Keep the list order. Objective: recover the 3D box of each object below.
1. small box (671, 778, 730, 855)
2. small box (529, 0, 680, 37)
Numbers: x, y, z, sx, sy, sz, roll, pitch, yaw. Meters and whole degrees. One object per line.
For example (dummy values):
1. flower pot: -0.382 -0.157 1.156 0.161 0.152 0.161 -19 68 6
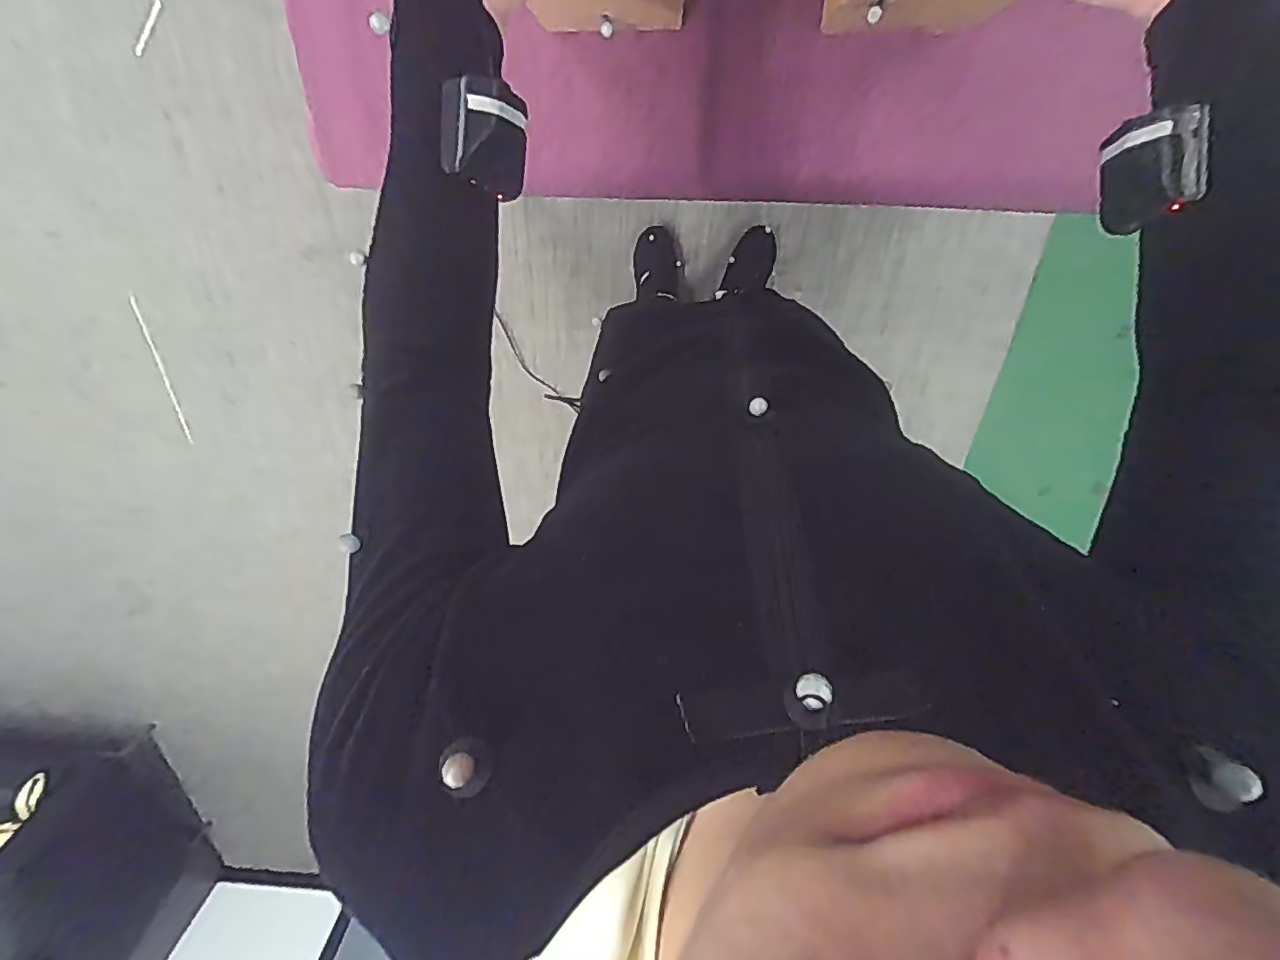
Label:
1. small box: 0.206 1.168 1.882 0.179 0.176 0.168 7 118 -1
2. small box: -0.039 -0.569 0.532 0.168 0.176 0.179 2 118 3
